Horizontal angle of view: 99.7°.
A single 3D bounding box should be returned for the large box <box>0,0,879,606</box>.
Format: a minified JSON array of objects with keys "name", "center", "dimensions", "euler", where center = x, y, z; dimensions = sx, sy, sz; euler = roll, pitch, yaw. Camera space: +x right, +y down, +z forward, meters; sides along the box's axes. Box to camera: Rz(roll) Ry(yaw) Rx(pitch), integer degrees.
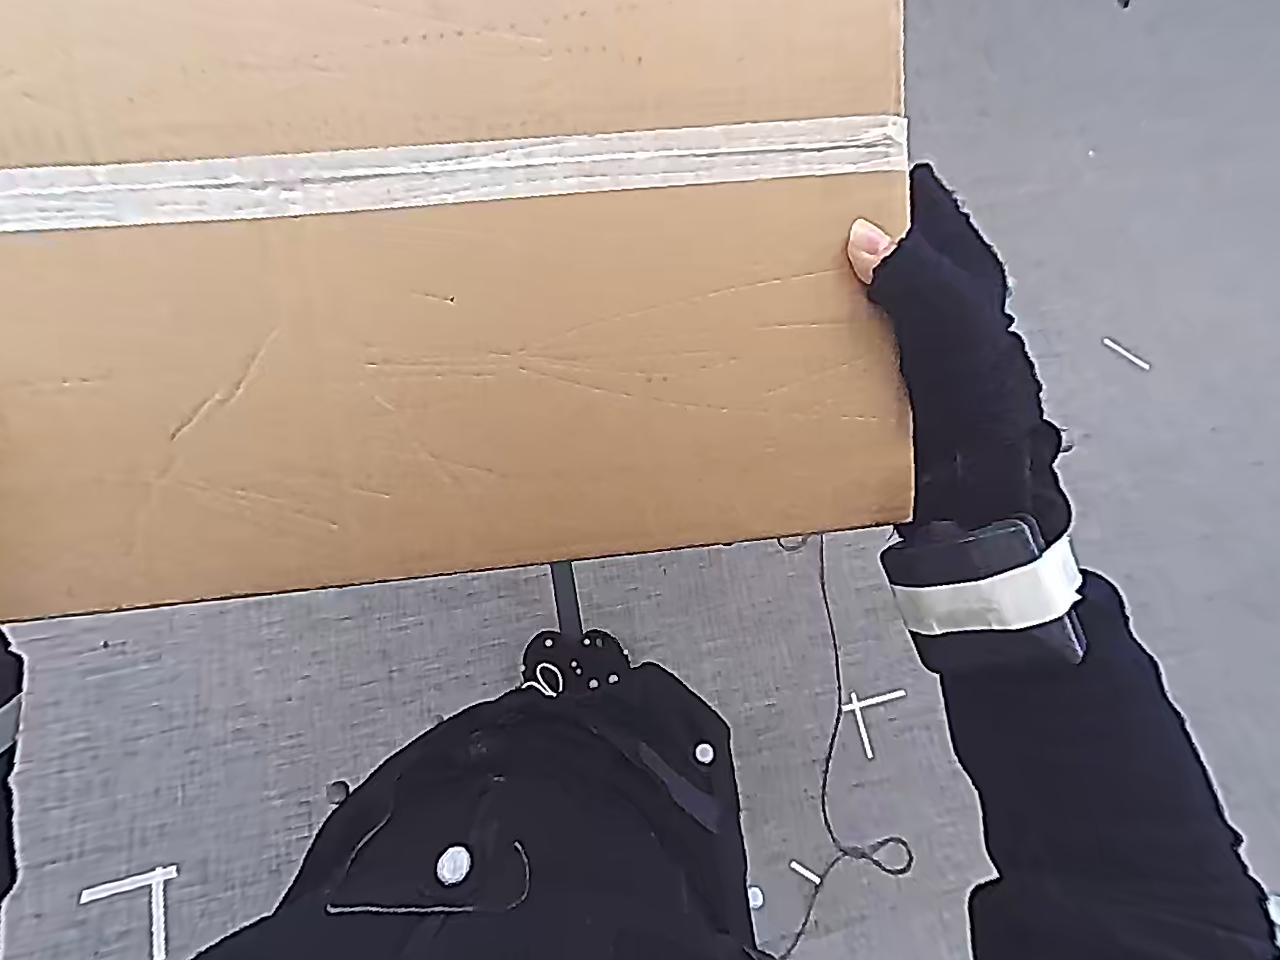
[{"name":"large box","center":[-0.106,-0.138,0.367],"dimensions":[0.408,0.320,0.320],"euler":[-5,98,-4]}]
